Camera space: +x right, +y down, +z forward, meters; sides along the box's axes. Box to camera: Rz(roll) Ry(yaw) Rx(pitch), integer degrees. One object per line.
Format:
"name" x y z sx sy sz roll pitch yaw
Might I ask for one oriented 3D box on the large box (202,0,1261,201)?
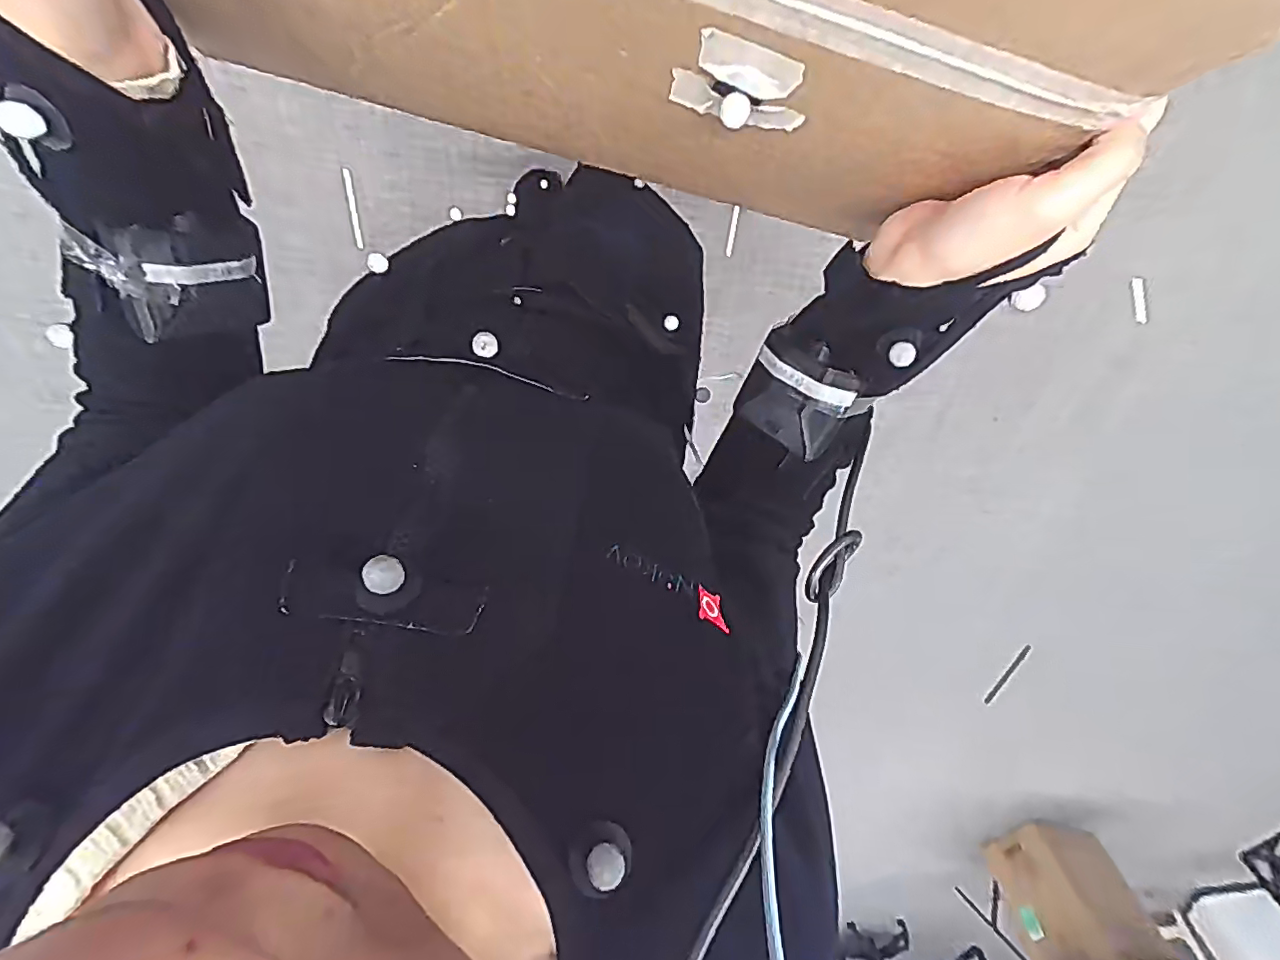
"large box" 0.025 -0.332 0.135 0.408 0.320 0.320 10 95 -8
